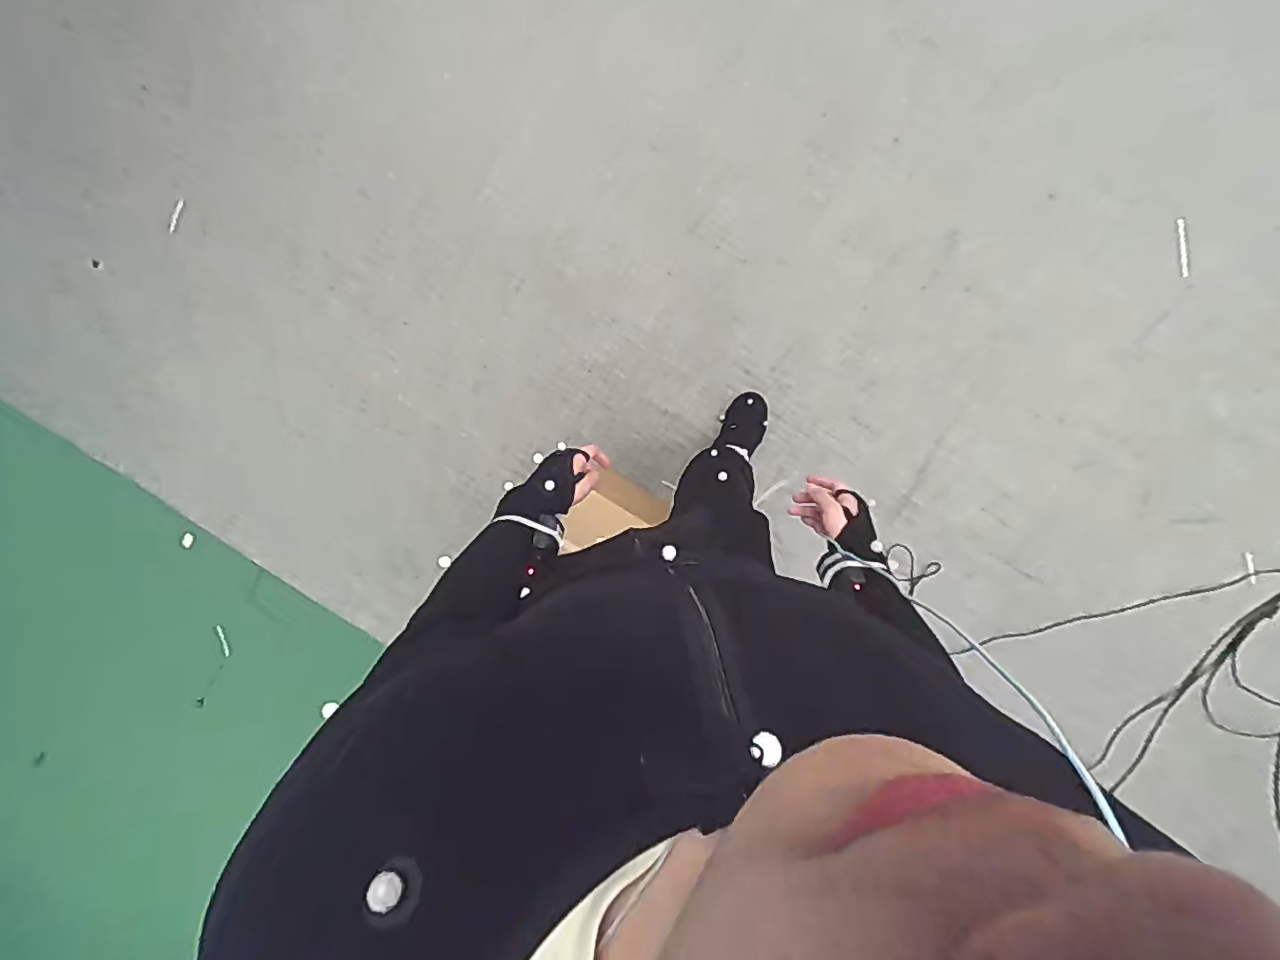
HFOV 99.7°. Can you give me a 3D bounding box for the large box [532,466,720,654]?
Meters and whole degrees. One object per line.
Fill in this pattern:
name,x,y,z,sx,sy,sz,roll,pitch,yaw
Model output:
large box,-0.021,0.206,1.522,0.408,0.320,0.320,31,102,2
